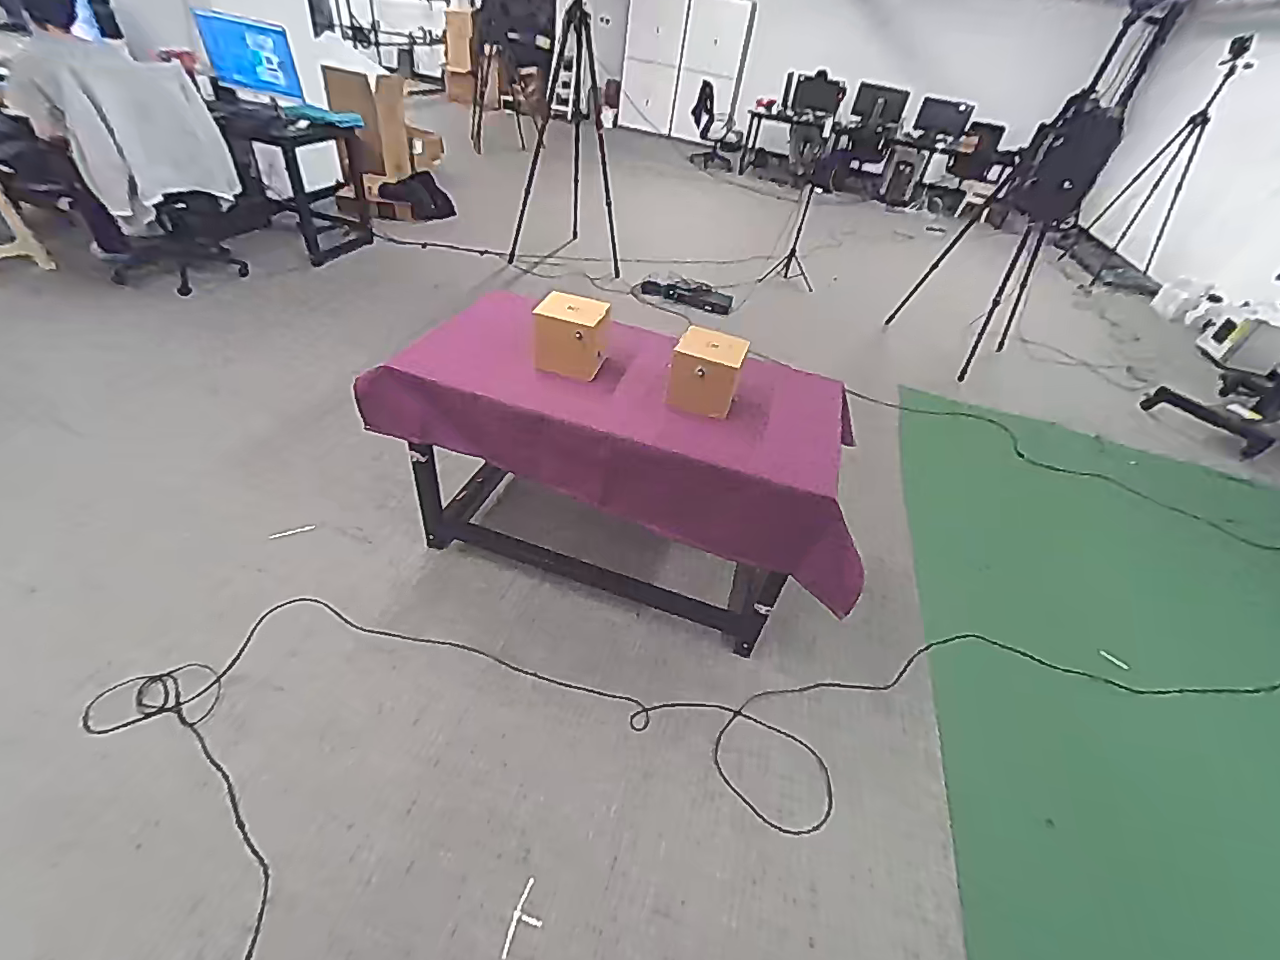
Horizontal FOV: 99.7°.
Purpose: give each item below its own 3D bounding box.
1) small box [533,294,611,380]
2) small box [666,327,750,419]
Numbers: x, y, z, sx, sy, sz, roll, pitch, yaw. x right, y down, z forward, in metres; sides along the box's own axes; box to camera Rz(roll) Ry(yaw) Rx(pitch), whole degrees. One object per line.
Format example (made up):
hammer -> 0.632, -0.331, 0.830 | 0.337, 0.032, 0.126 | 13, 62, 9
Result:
small box -> -0.194, -0.403, 1.528 | 0.179, 0.176, 0.168 | 15, 41, 5
small box -> 0.181, -0.289, 1.468 | 0.179, 0.176, 0.168 | 19, 42, 10
